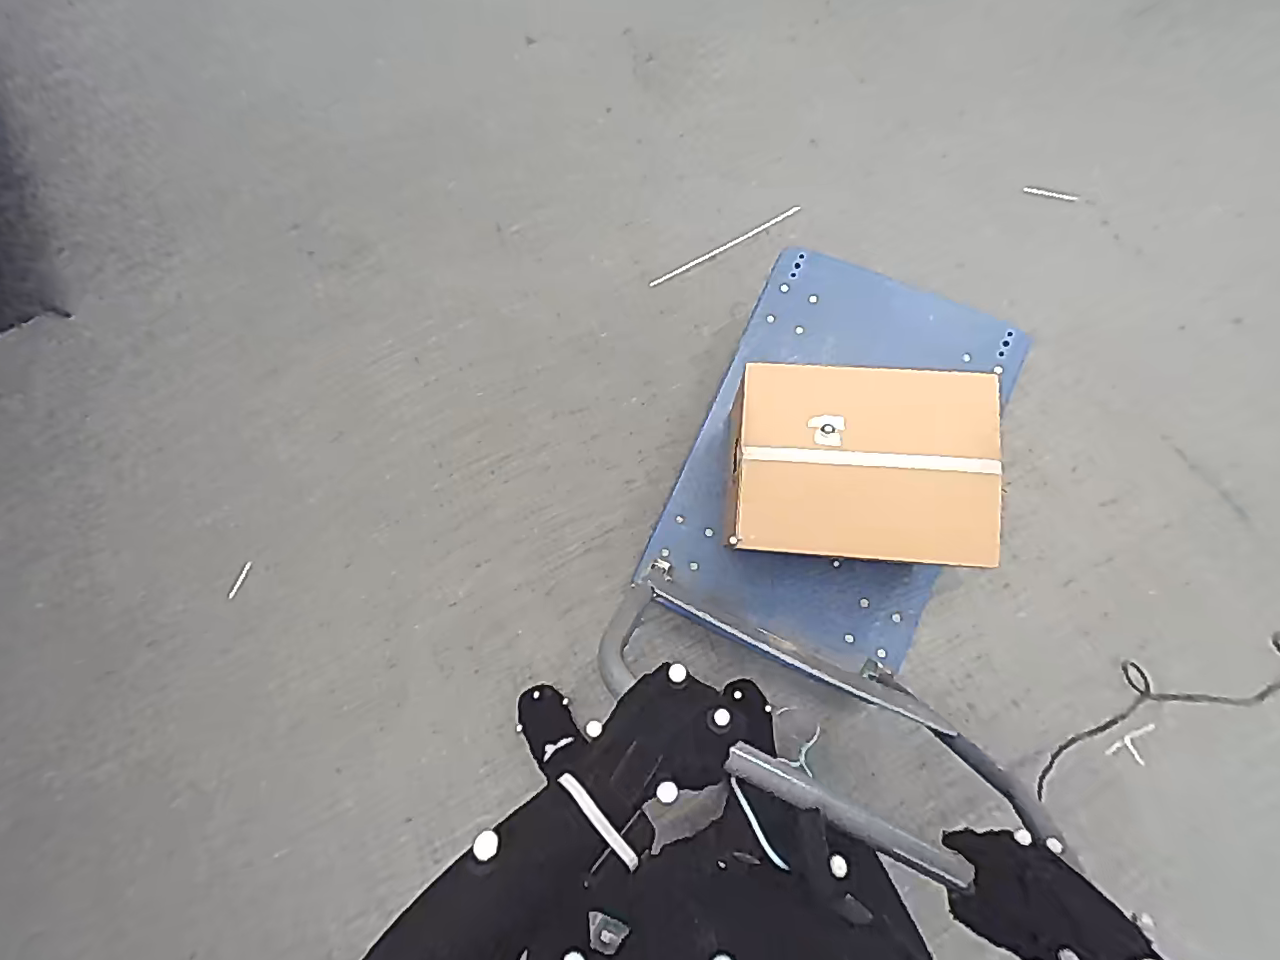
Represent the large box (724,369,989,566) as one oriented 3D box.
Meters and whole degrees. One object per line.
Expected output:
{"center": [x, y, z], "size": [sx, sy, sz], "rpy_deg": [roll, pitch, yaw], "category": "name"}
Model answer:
{"center": [0.377, -0.011, 1.032], "size": [0.408, 0.320, 0.320], "rpy_deg": [4, 83, 6], "category": "large box"}
